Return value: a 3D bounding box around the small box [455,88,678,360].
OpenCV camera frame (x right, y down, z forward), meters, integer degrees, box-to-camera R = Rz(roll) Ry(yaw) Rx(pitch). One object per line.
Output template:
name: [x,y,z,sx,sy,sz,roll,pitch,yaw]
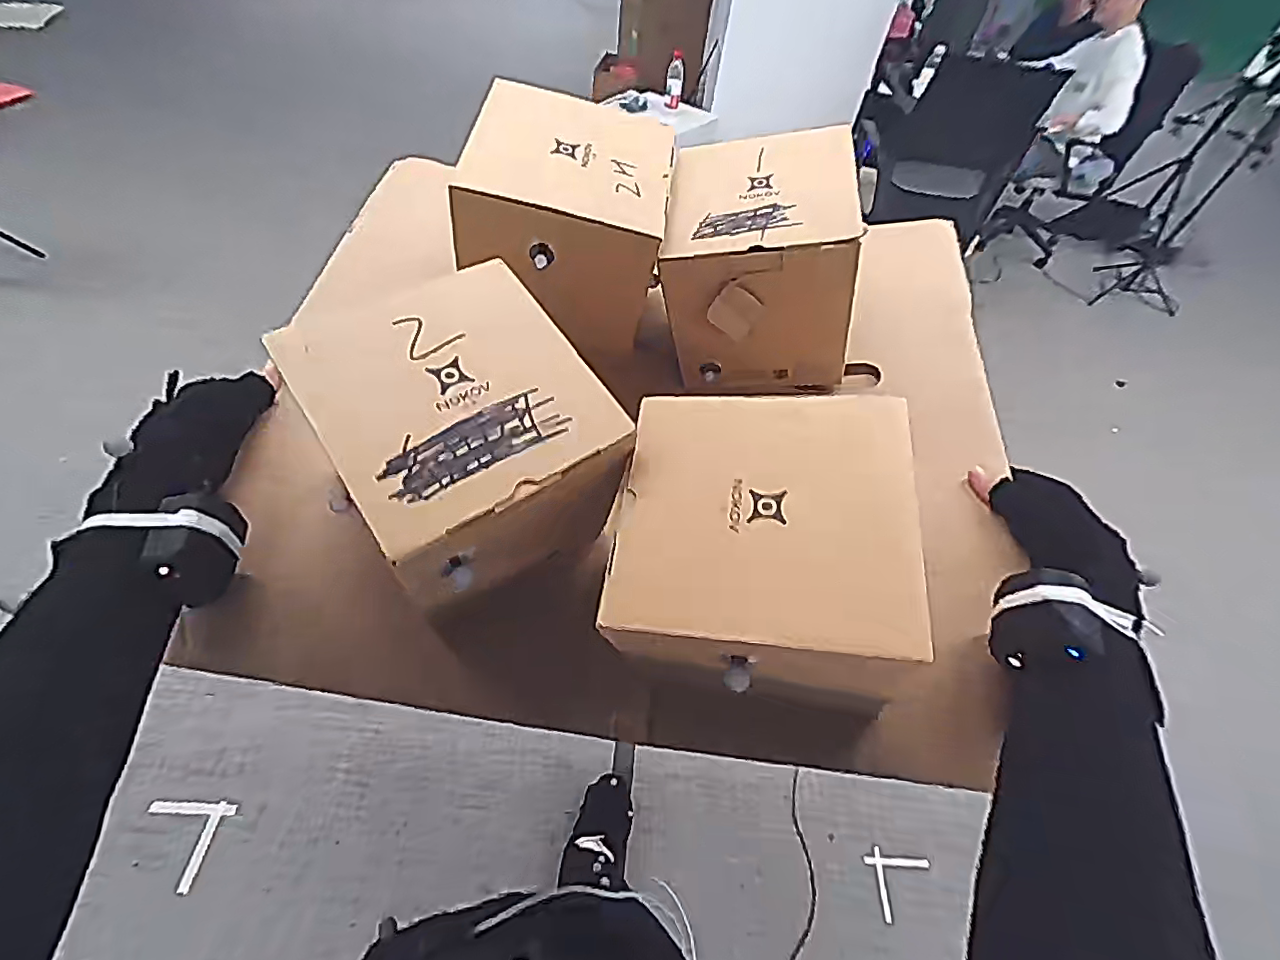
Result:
small box: [-0.072,-0.247,0.550,0.179,0.176,0.168,12,60,-8]
